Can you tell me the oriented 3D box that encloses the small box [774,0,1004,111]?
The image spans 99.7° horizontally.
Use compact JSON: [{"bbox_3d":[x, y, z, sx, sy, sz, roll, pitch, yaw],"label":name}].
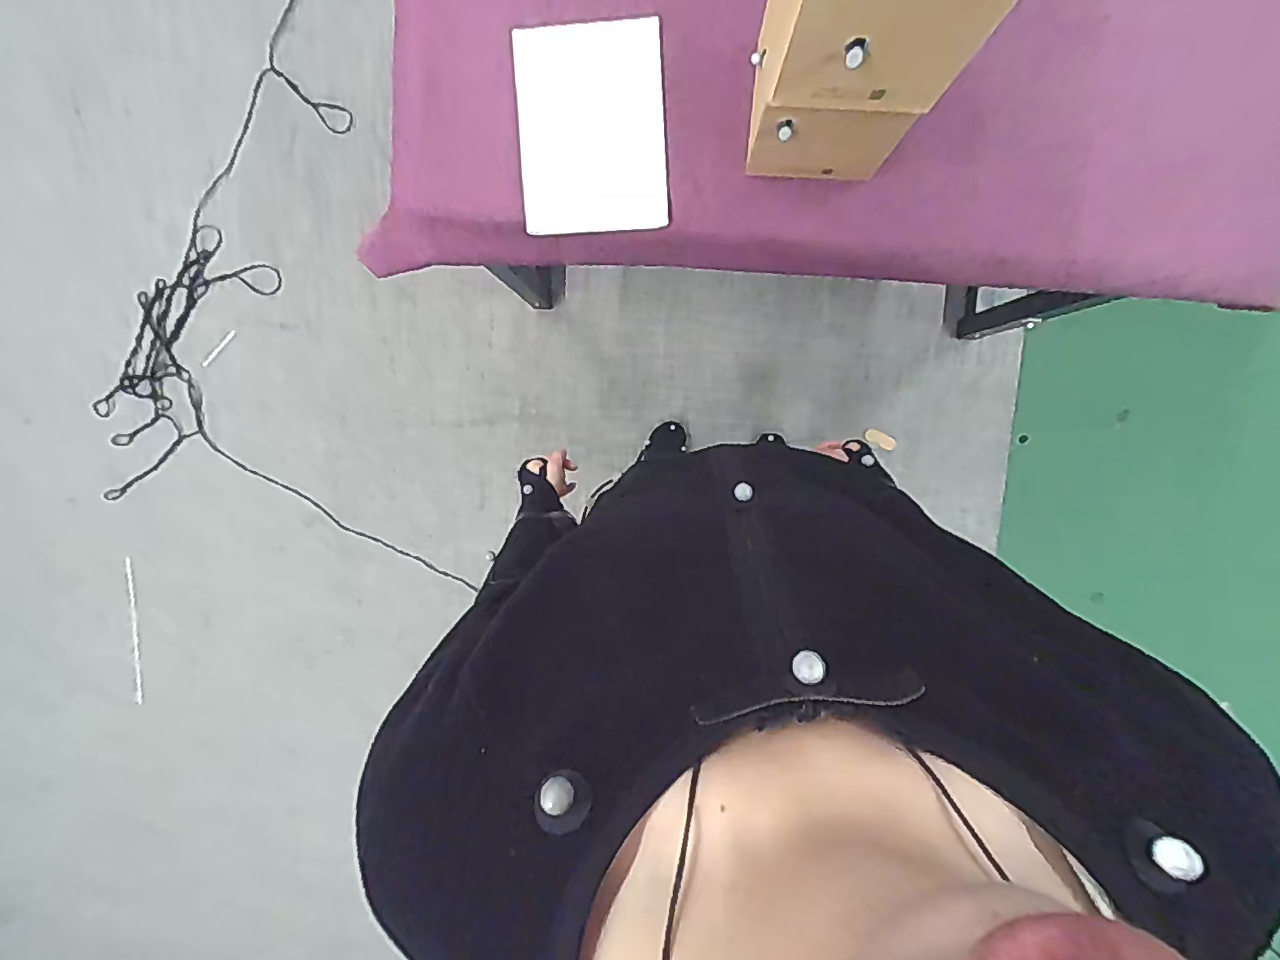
[{"bbox_3d":[0.220,-0.464,0.478,0.168,0.176,0.179,5,94,3],"label":"small box"}]
